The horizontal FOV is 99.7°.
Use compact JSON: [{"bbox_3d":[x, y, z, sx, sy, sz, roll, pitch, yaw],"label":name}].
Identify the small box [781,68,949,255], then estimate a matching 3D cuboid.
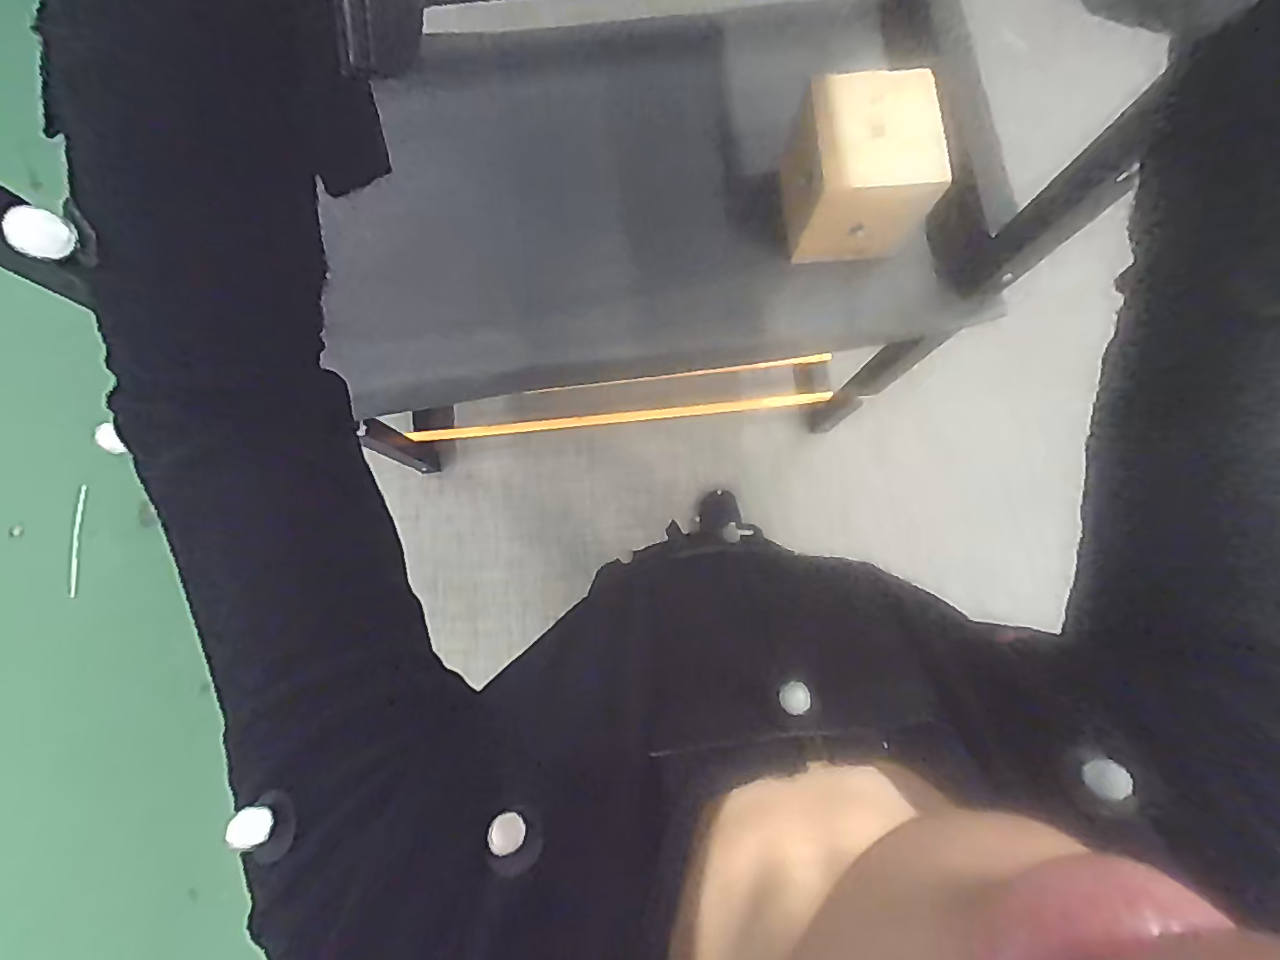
[{"bbox_3d":[0.311,-0.444,0.782,0.168,0.176,0.179,-3,79,0],"label":"small box"}]
